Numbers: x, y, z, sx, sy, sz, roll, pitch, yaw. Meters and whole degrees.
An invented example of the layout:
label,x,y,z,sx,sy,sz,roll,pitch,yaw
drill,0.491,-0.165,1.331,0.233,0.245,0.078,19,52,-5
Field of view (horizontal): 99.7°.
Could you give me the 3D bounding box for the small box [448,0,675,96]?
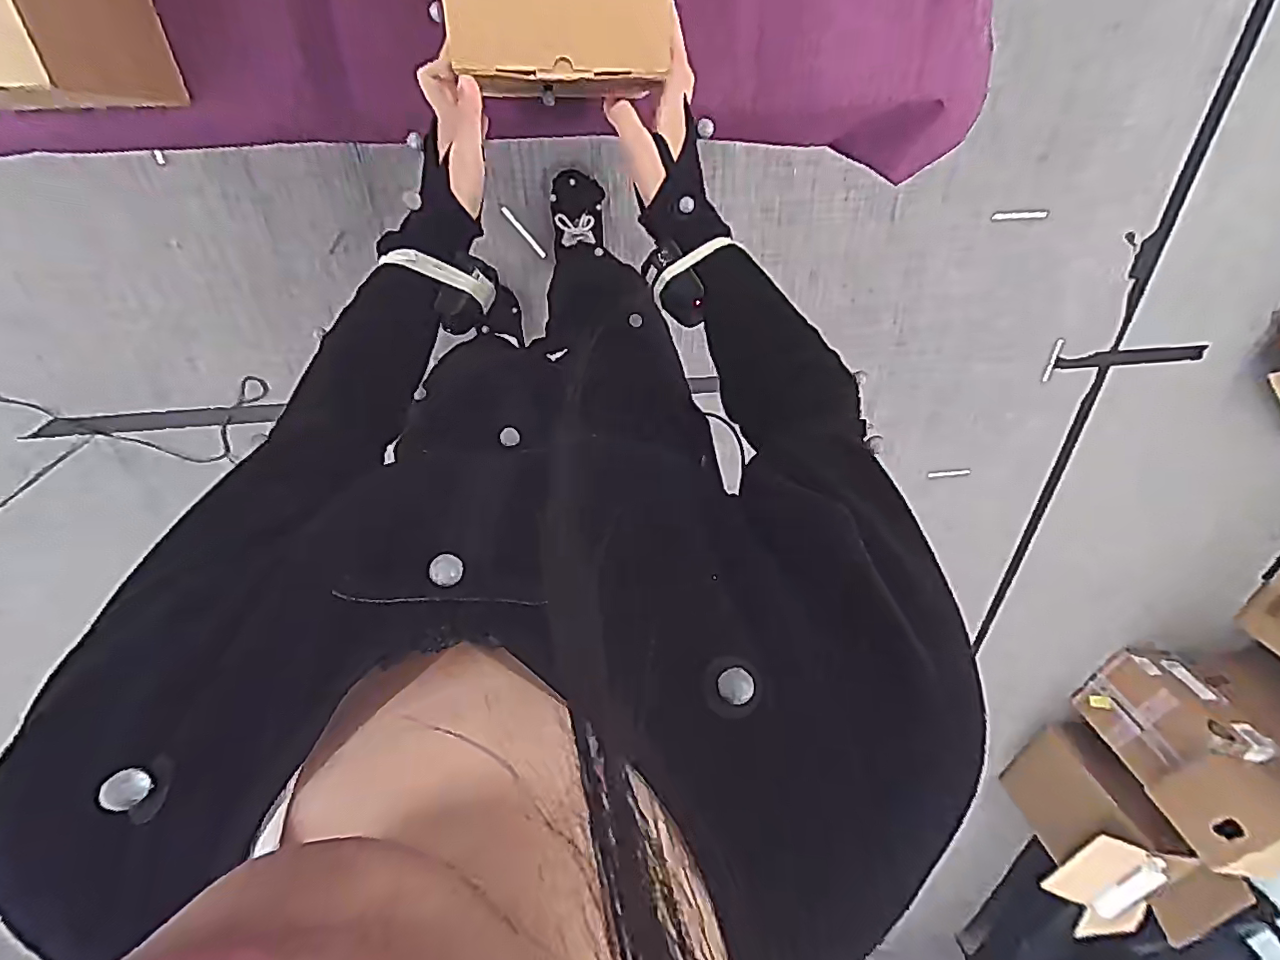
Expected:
label,x,y,z,sx,sy,sz,roll,pitch,yaw
small box,-0.066,-0.423,0.433,0.168,0.176,0.179,-4,122,-7
